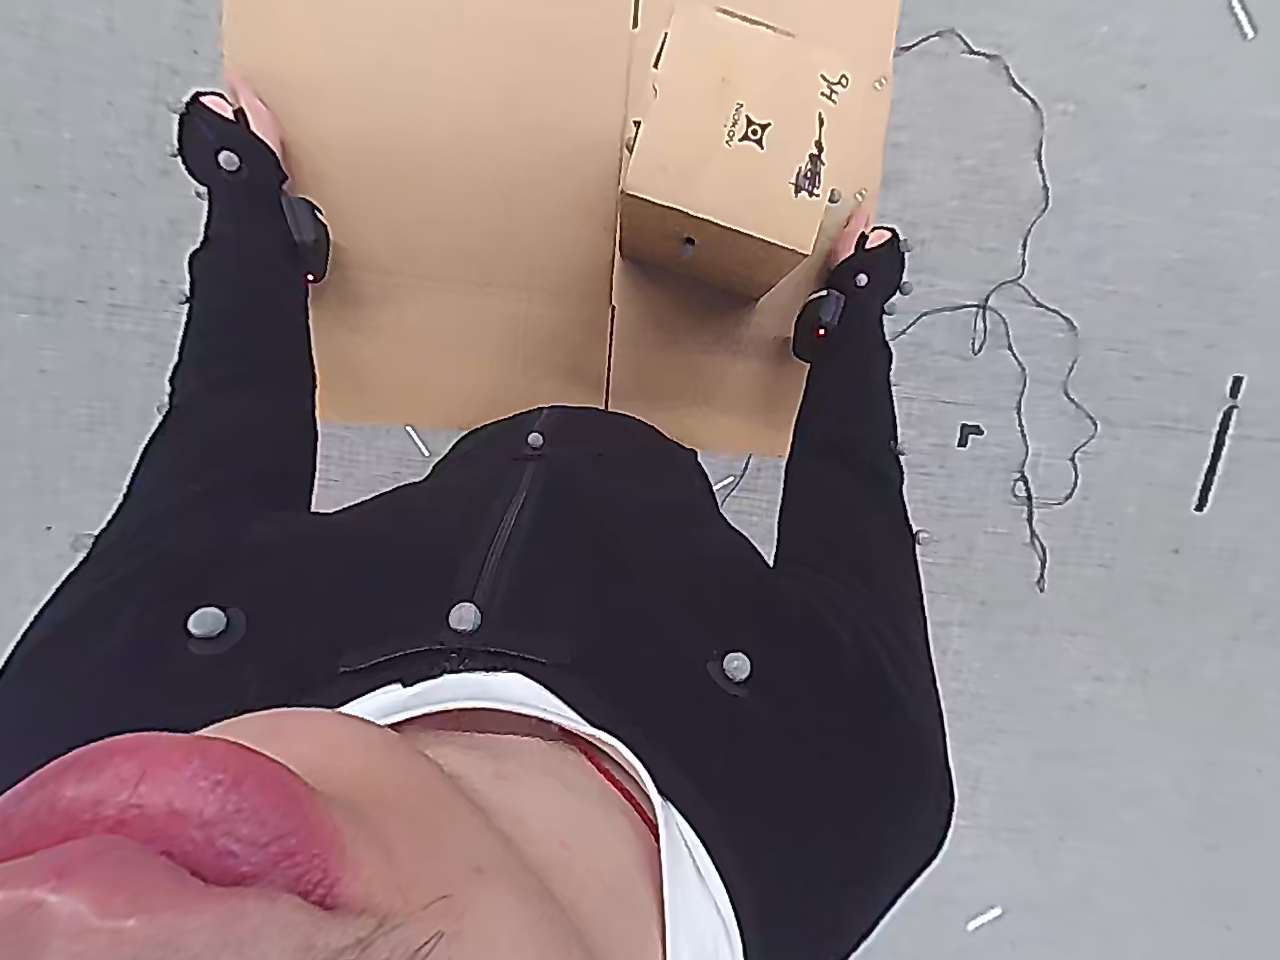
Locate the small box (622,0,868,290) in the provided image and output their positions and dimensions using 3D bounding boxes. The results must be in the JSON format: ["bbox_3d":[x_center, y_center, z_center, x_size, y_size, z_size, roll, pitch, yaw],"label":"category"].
[{"bbox_3d":[0.088,-0.311,0.544,0.179,0.176,0.168,17,95,-3],"label":"small box"}]
